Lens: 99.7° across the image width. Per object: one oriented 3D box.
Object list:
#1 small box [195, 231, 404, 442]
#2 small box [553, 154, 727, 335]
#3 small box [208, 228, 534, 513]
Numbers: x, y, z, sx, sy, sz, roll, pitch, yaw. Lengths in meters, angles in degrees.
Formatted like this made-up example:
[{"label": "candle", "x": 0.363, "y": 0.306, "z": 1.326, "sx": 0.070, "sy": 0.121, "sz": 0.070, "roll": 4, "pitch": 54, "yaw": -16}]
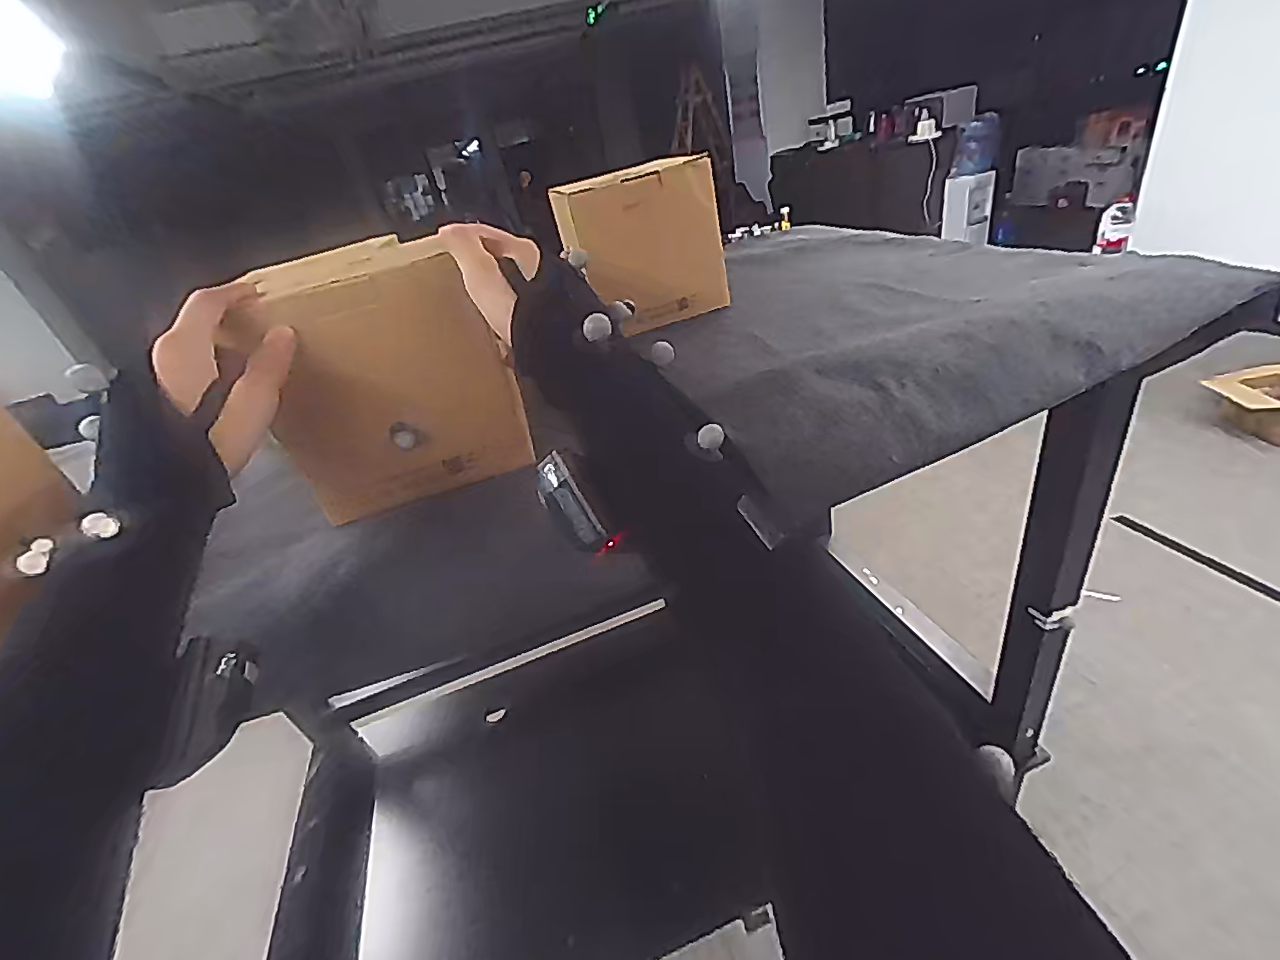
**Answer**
[{"label": "small box", "x": -0.336, "y": -0.168, "z": 0.622, "sx": 0.179, "sy": 0.176, "sz": 0.168, "roll": -17, "pitch": 32, "yaw": -4}, {"label": "small box", "x": -0.001, "y": -0.299, "z": 0.690, "sx": 0.168, "sy": 0.176, "sz": 0.179, "roll": -18, "pitch": 32, "yaw": -6}, {"label": "small box", "x": -0.197, "y": -0.099, "z": 0.456, "sx": 0.168, "sy": 0.176, "sz": 0.179, "roll": -18, "pitch": 32, "yaw": -7}]
